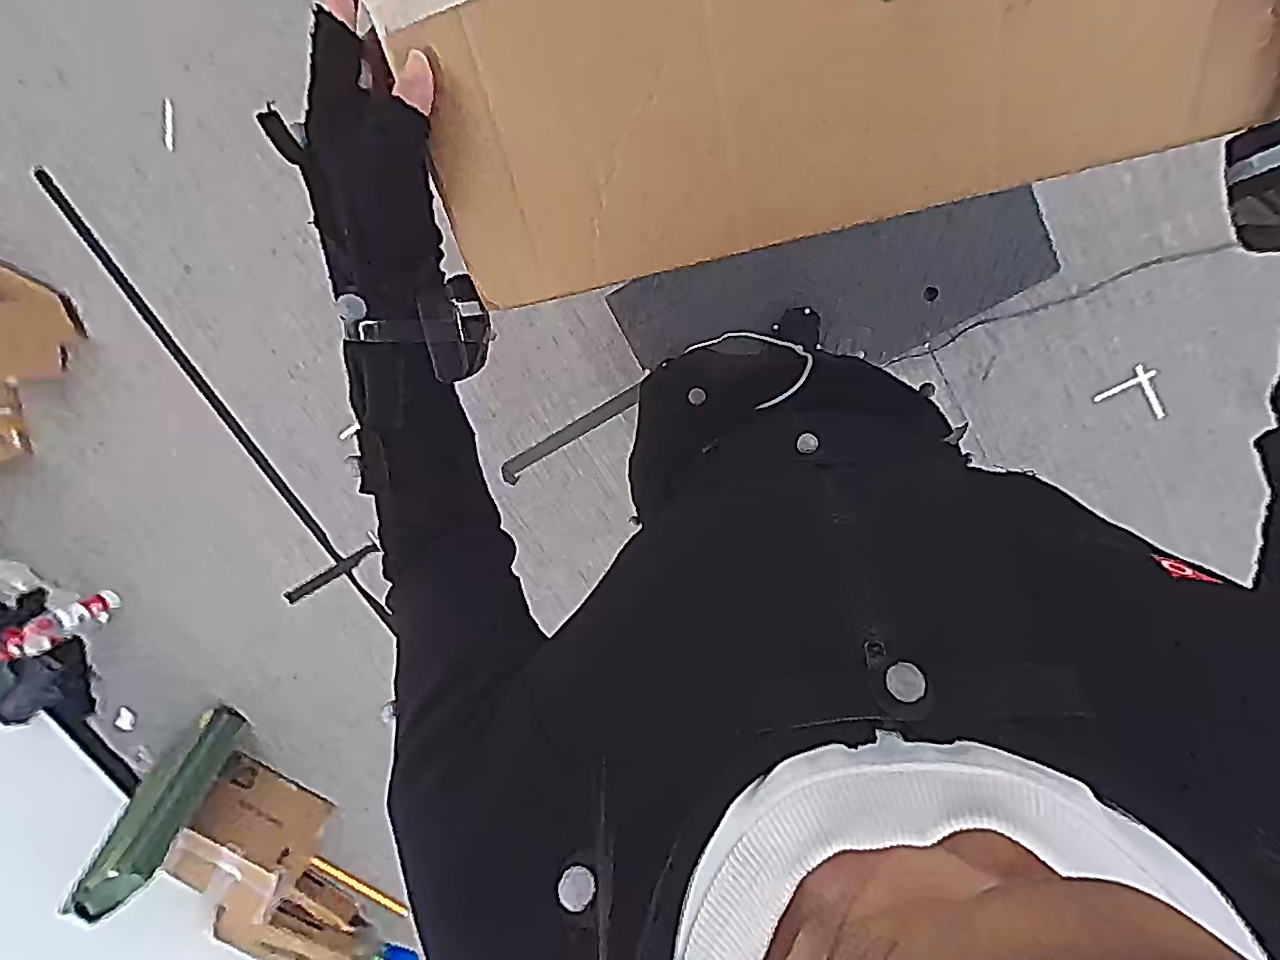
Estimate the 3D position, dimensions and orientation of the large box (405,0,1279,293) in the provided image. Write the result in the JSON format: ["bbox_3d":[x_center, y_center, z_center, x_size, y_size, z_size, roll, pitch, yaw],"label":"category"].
[{"bbox_3d":[0.086,-0.352,0.364,0.408,0.320,0.320,-8,118,15],"label":"large box"}]
